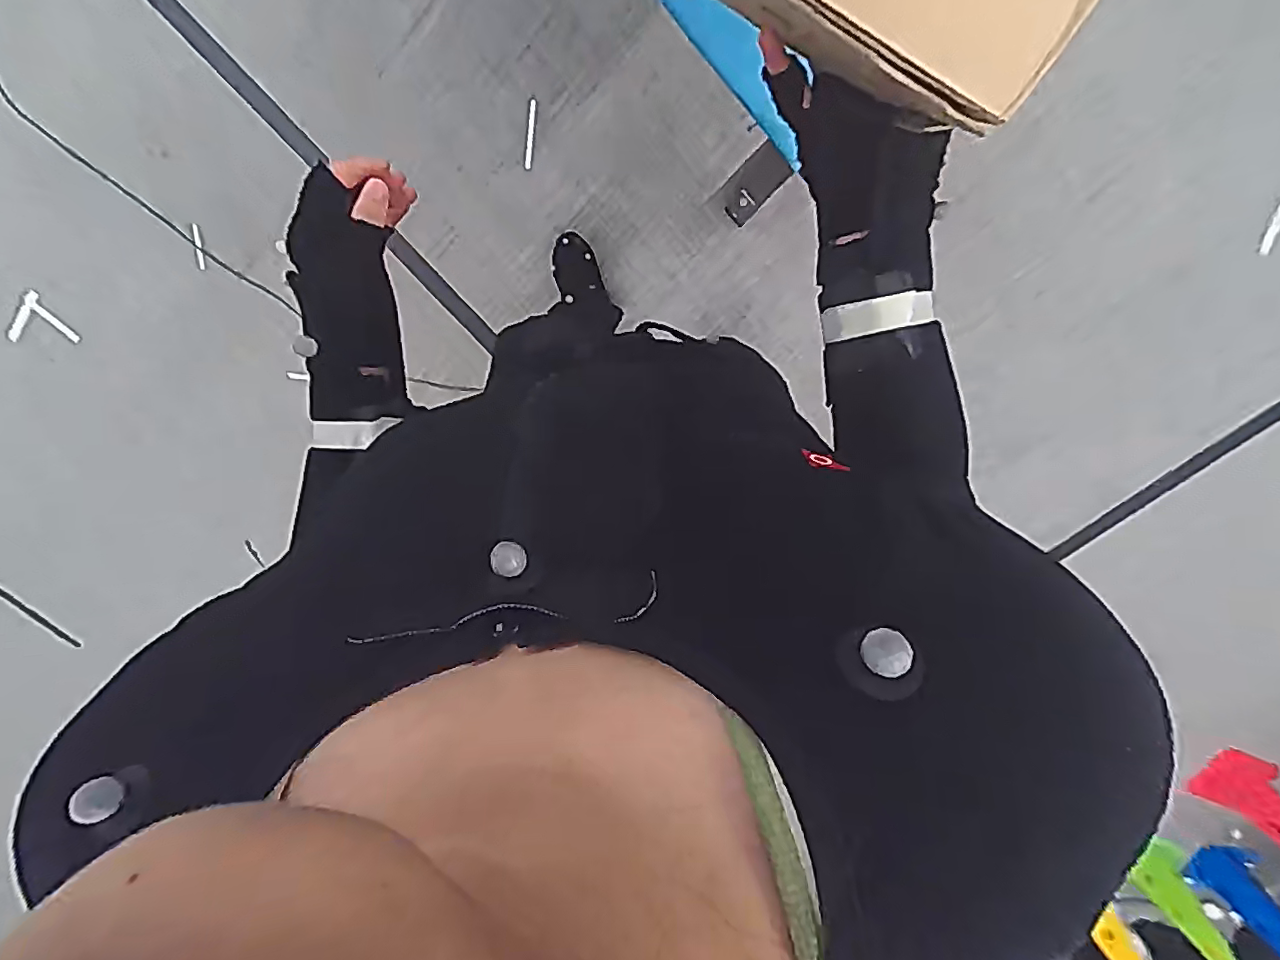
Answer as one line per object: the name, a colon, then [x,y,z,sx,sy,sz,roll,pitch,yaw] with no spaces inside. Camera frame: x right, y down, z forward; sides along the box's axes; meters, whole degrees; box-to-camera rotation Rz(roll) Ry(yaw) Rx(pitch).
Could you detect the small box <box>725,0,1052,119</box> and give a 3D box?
small box: [0.109,-0.291,0.224,0.179,0.168,0.176,21,126,-14]
